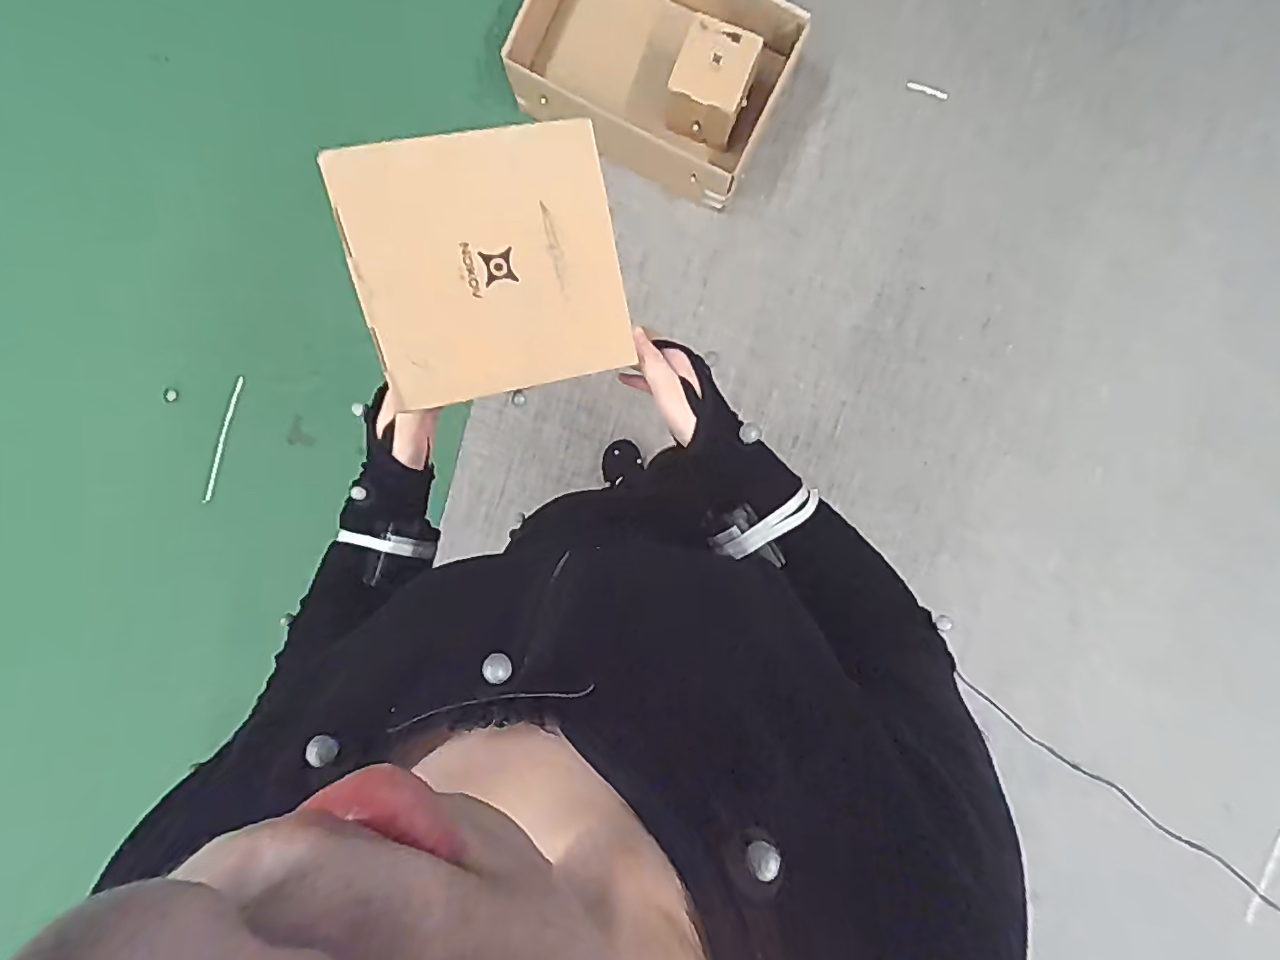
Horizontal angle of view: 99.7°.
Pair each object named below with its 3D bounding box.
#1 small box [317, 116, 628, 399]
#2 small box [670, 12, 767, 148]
[{"bbox_3d":[-0.121,-0.164,0.443,0.179,0.176,0.168,-13,105,-10],"label":"small box"},{"bbox_3d":[0.180,-0.935,1.284,0.168,0.176,0.179,23,96,1],"label":"small box"}]
